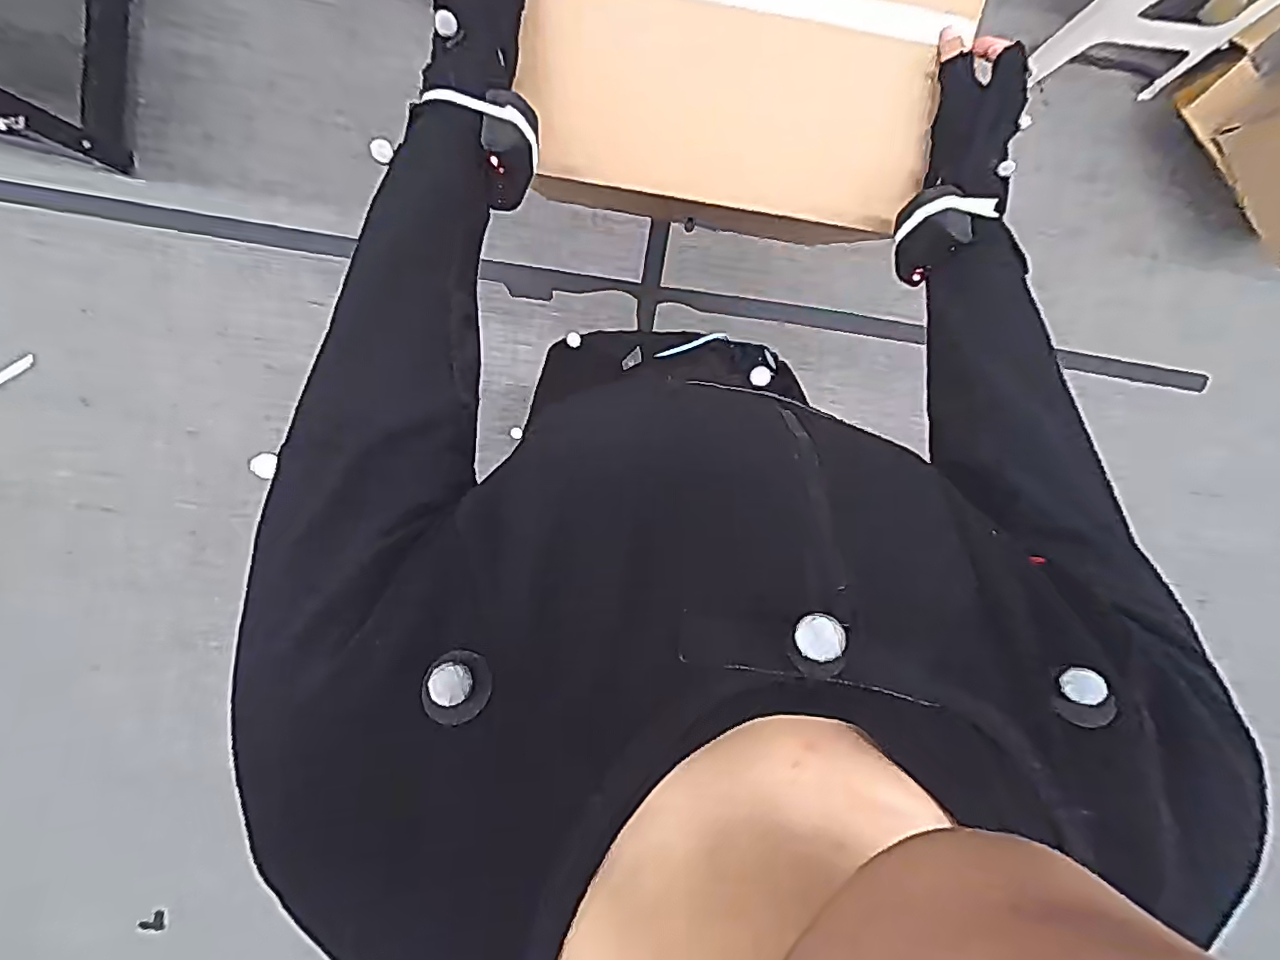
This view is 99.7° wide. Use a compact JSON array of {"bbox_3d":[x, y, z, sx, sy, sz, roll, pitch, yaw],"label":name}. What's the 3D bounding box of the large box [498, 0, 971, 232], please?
[{"bbox_3d":[0.084,-0.471,0.598,0.408,0.320,0.320,8,111,-4],"label":"large box"}]
